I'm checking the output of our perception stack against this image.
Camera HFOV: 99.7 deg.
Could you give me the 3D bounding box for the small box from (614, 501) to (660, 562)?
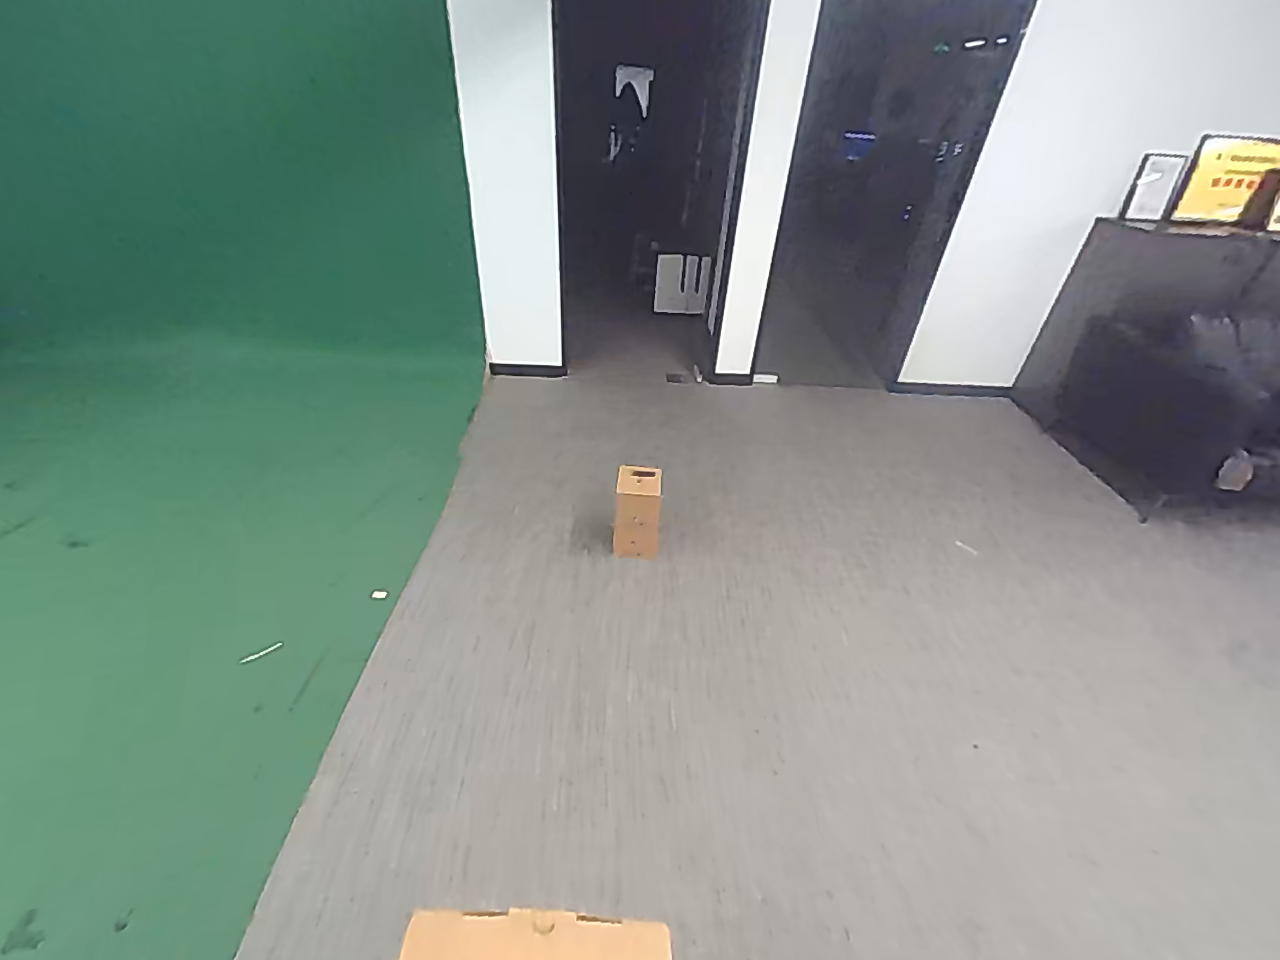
[{"bbox_3d":[-0.012,0.210,2.190,0.168,0.176,0.179,7,36,3],"label":"small box"}]
